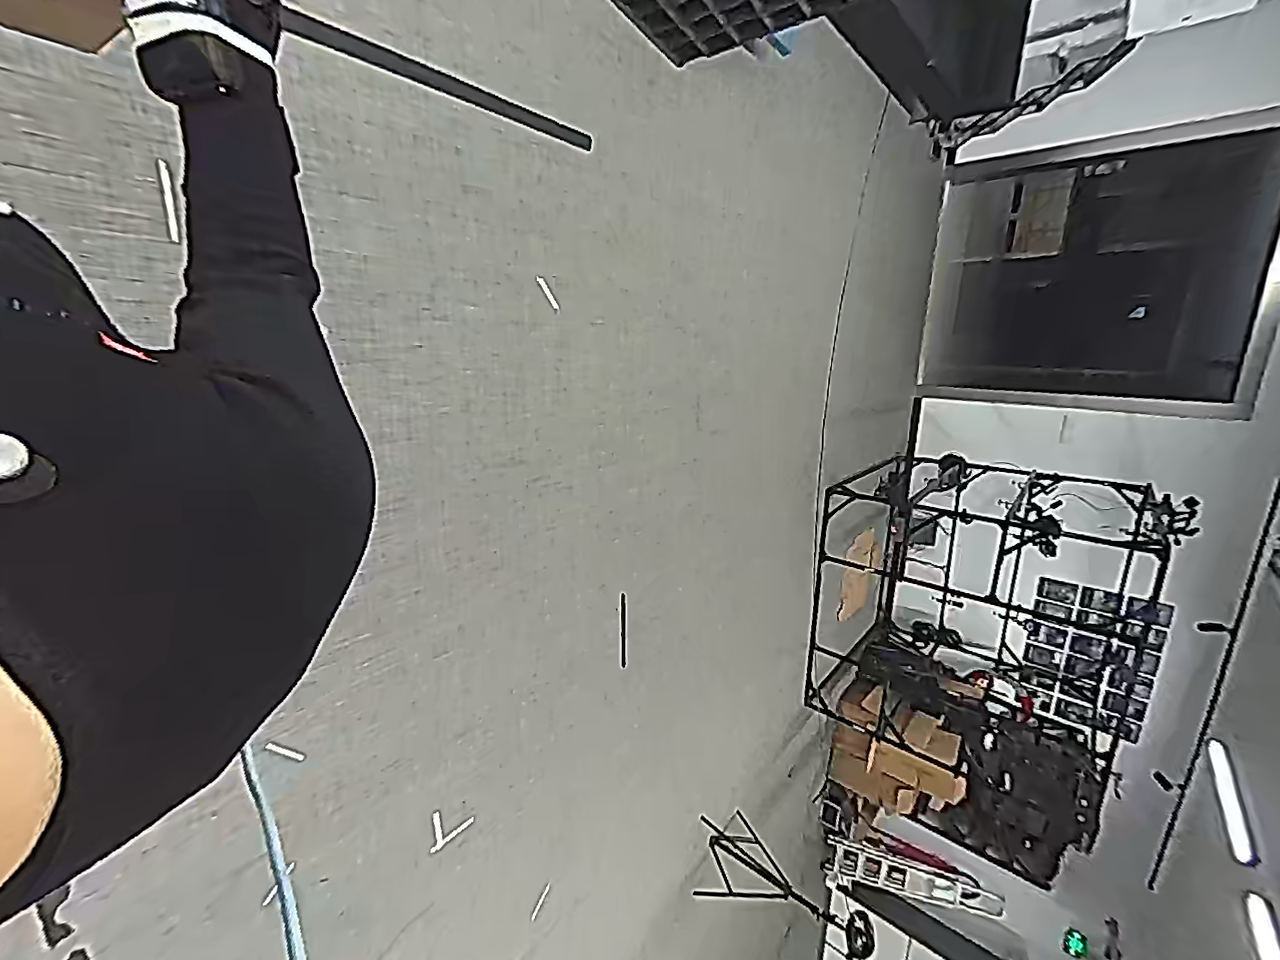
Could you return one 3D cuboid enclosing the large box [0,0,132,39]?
[{"bbox_3d":[-0.537,-0.499,0.256,0.408,0.320,0.320,-14,120,-50],"label":"large box"}]
